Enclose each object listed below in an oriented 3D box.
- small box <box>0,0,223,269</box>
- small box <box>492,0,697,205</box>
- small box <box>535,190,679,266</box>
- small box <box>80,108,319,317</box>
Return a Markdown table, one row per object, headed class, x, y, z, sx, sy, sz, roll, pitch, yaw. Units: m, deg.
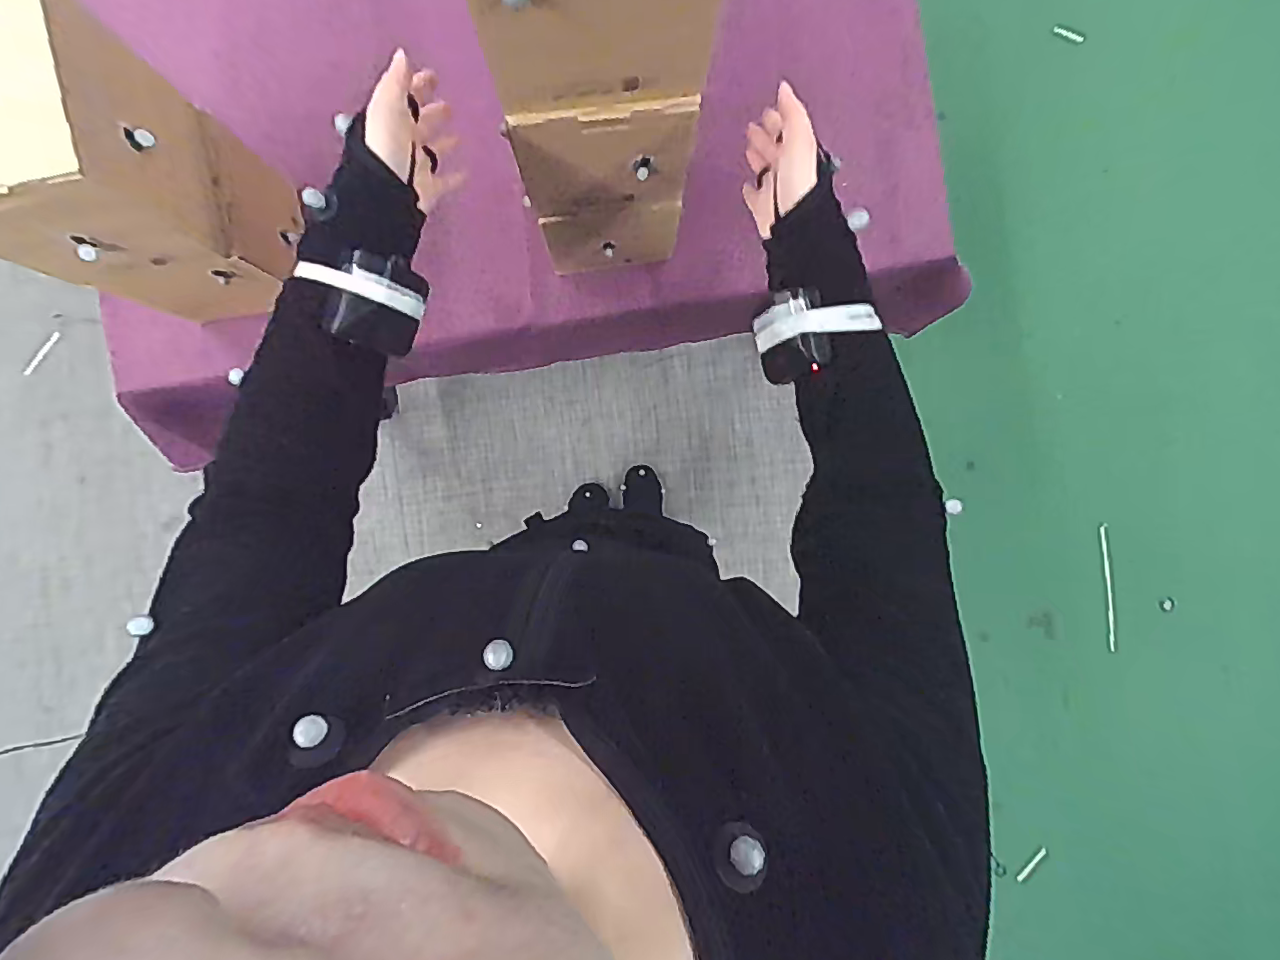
| class | x | y | z | sx | sy | sz | roll | pitch | yaw |
| --- | --- | --- | --- | --- | --- | --- | --- | --- | --- |
| small box | -0.543 | -0.316 | 0.511 | 0.168 | 0.176 | 0.179 | -11 | 92 | -3 |
| small box | -0.041 | -0.389 | 0.525 | 0.168 | 0.176 | 0.179 | -6 | 91 | -2 |
| small box | -0.046 | -0.388 | 0.689 | 0.168 | 0.176 | 0.179 | -8 | 91 | -2 |
| small box | -0.544 | -0.317 | 0.675 | 0.179 | 0.176 | 0.168 | -11 | 91 | -3 |
